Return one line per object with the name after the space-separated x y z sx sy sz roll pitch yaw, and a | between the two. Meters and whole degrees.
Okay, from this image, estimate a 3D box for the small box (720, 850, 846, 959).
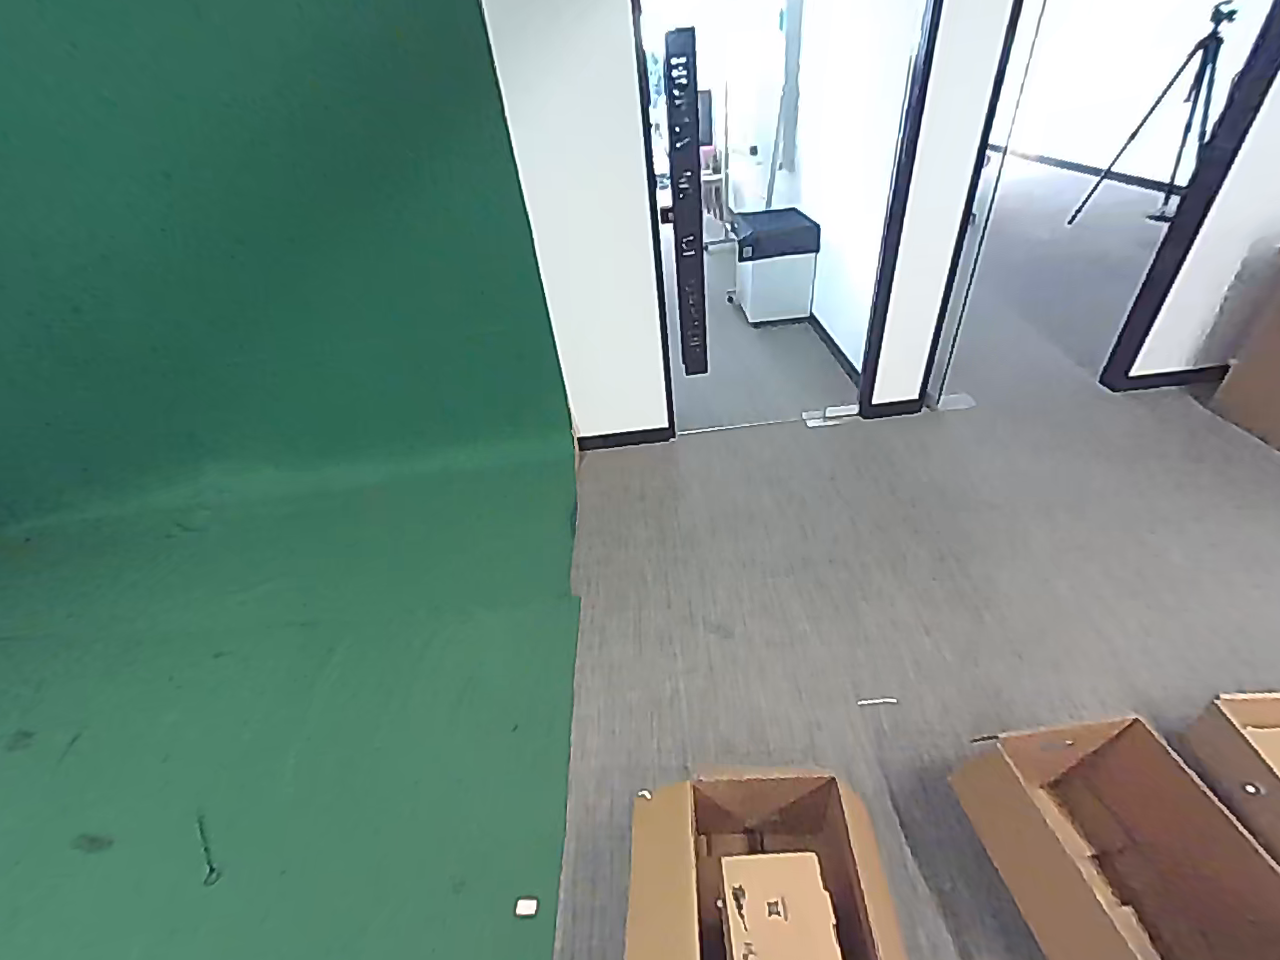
0.243 0.787 0.965 0.179 0.176 0.168 -2 36 1 | small box
